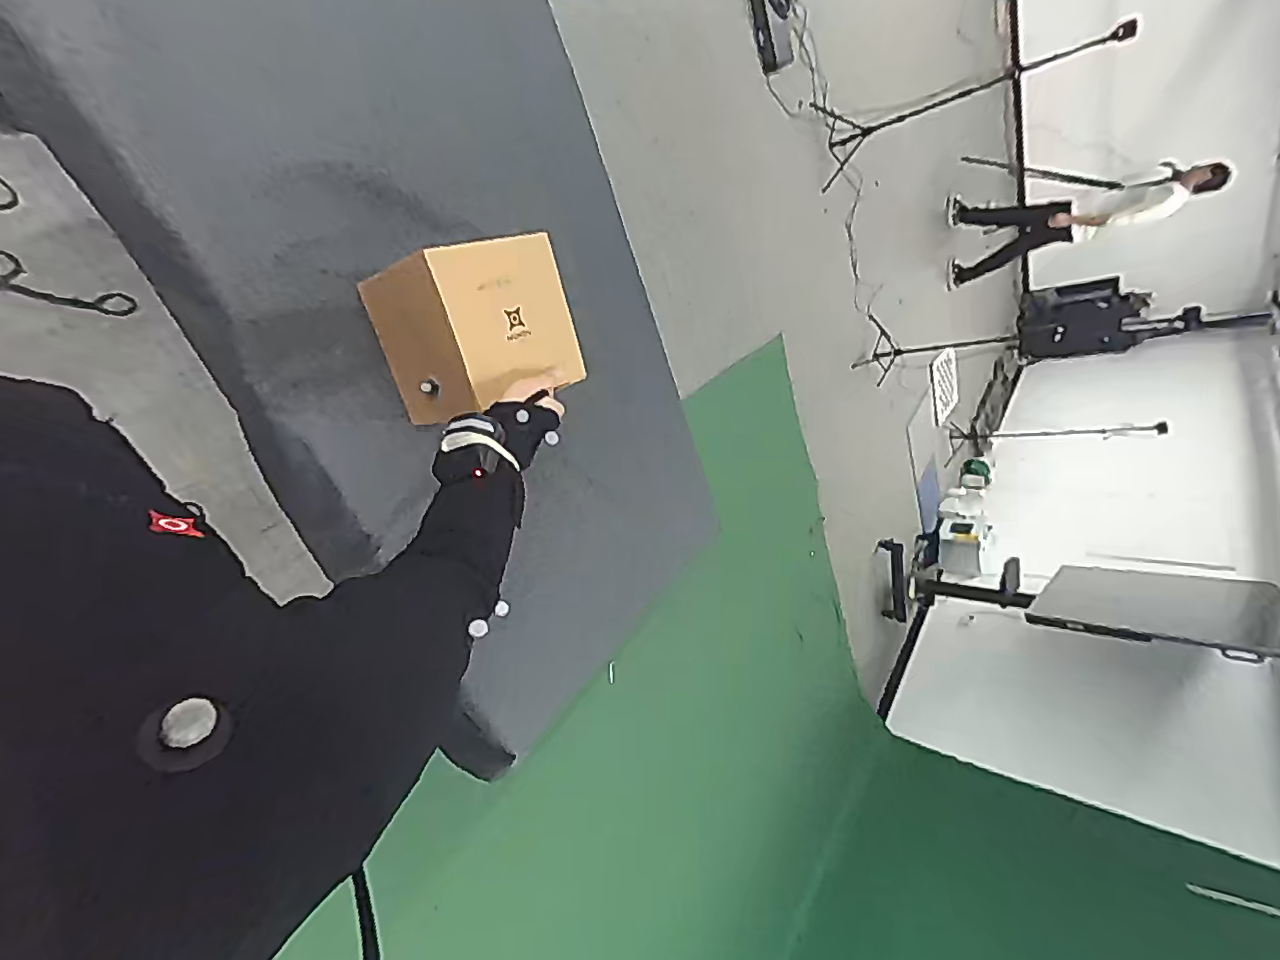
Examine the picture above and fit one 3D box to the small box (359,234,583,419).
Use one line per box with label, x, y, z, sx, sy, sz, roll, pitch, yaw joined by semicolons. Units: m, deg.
small box;-0.202;-0.180;0.657;0.168;0.176;0.179;-34;116;-43
